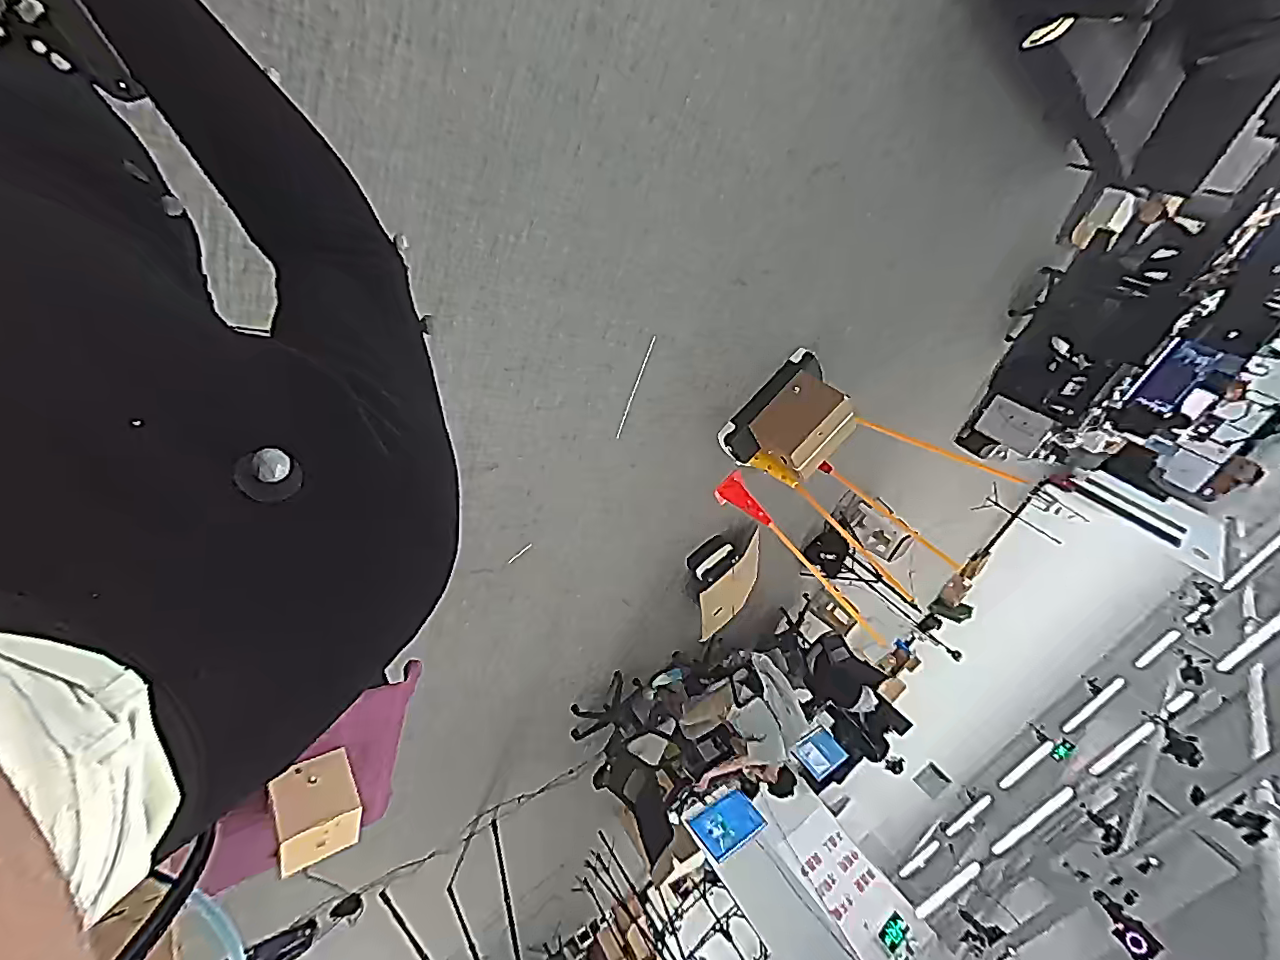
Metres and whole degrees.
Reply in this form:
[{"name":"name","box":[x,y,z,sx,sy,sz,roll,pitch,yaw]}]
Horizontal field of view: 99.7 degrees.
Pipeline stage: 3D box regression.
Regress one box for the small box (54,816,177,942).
[{"name":"small box","box":[-1.049,0.820,1.088,0.168,0.176,0.179,-7,130,-42]}]

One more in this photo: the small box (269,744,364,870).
[{"name":"small box","box":[-0.791,0.788,1.317,0.168,0.176,0.179,-8,130,-41]}]

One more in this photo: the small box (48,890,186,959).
[{"name":"small box","box":[-0.952,0.910,0.993,0.179,0.176,0.168,-6,128,-41]}]
